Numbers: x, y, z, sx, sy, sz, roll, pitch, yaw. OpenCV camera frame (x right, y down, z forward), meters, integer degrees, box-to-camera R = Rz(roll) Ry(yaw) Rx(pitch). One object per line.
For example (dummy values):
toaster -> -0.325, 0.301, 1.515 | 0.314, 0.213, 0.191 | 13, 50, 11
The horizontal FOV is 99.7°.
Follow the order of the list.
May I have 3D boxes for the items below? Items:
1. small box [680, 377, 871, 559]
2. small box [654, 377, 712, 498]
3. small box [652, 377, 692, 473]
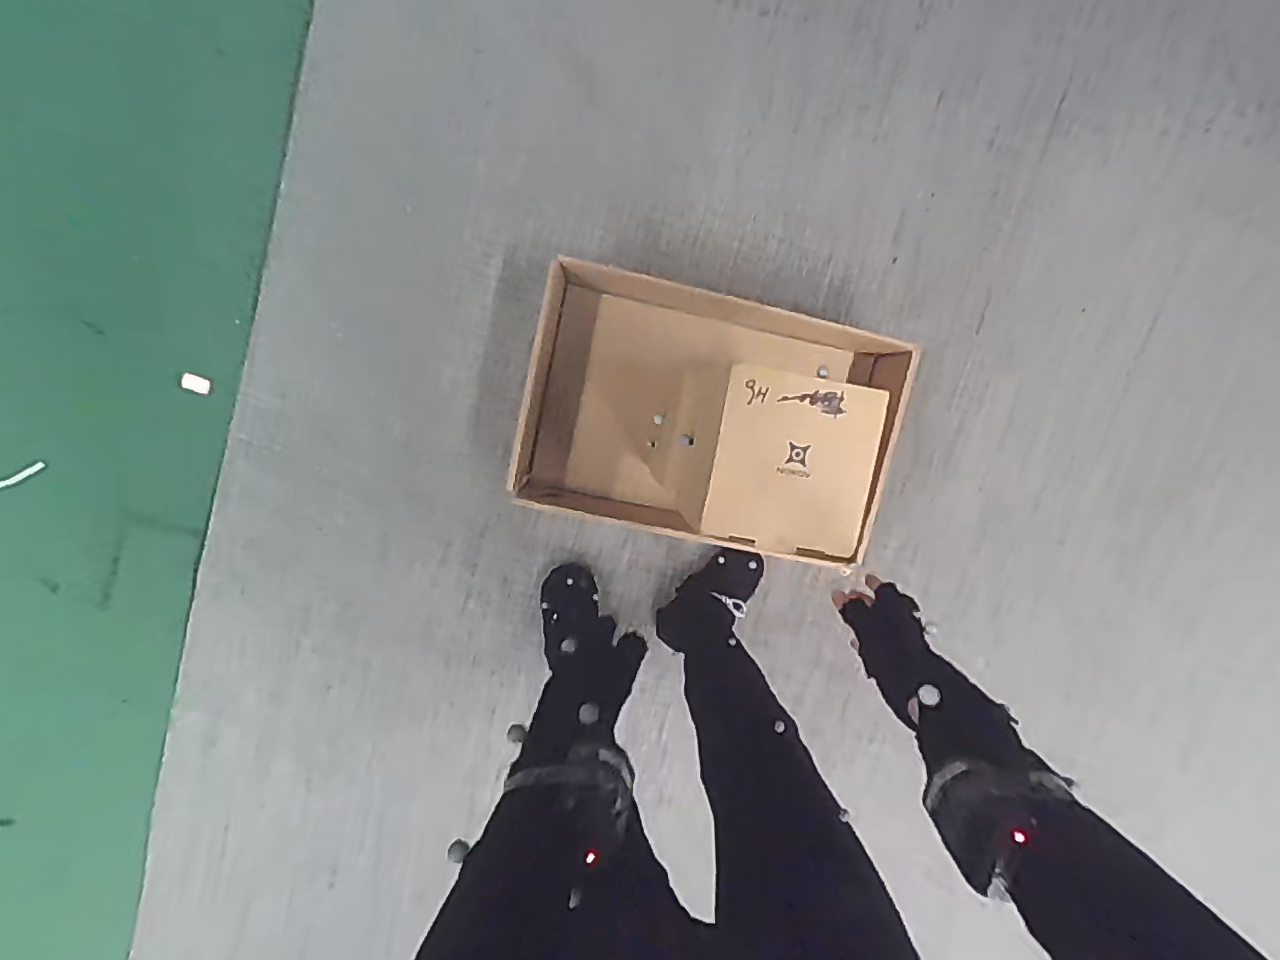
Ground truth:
small box -> 0.146, -0.020, 0.648 | 0.168, 0.176, 0.179 | 8, 96, -4
small box -> 0.127, -0.050, 0.806 | 0.179, 0.176, 0.168 | 13, 96, -5
small box -> 0.118, -0.074, 0.951 | 0.168, 0.176, 0.179 | 11, 95, -6
